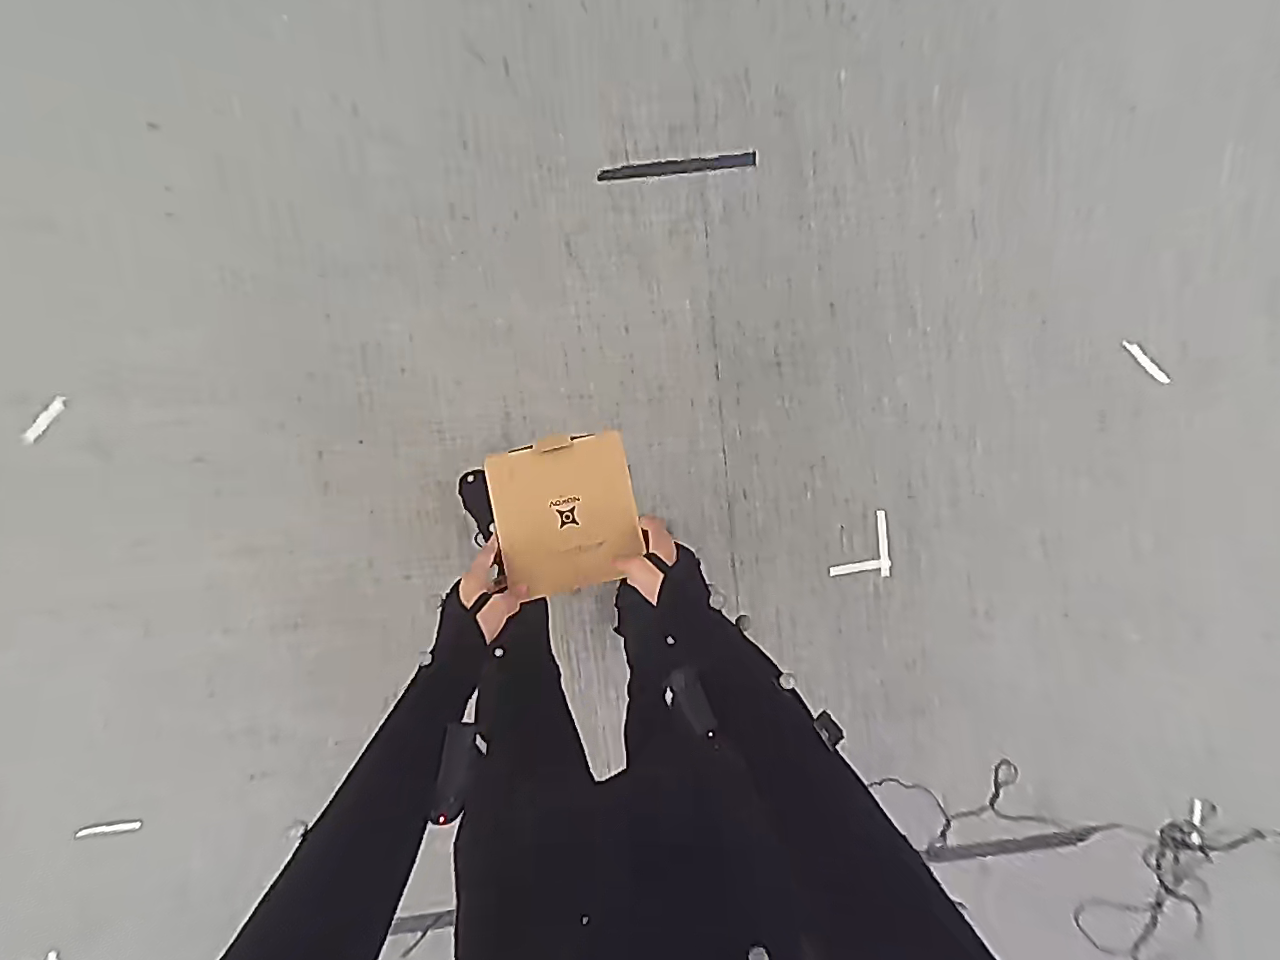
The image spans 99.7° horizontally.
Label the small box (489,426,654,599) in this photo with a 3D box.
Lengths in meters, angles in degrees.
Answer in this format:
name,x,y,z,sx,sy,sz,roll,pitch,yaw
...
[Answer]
name,x,y,z,sx,sy,sz,roll,pitch,yaw
small box,-0.087,0.044,0.700,0.168,0.176,0.179,-12,85,-6
